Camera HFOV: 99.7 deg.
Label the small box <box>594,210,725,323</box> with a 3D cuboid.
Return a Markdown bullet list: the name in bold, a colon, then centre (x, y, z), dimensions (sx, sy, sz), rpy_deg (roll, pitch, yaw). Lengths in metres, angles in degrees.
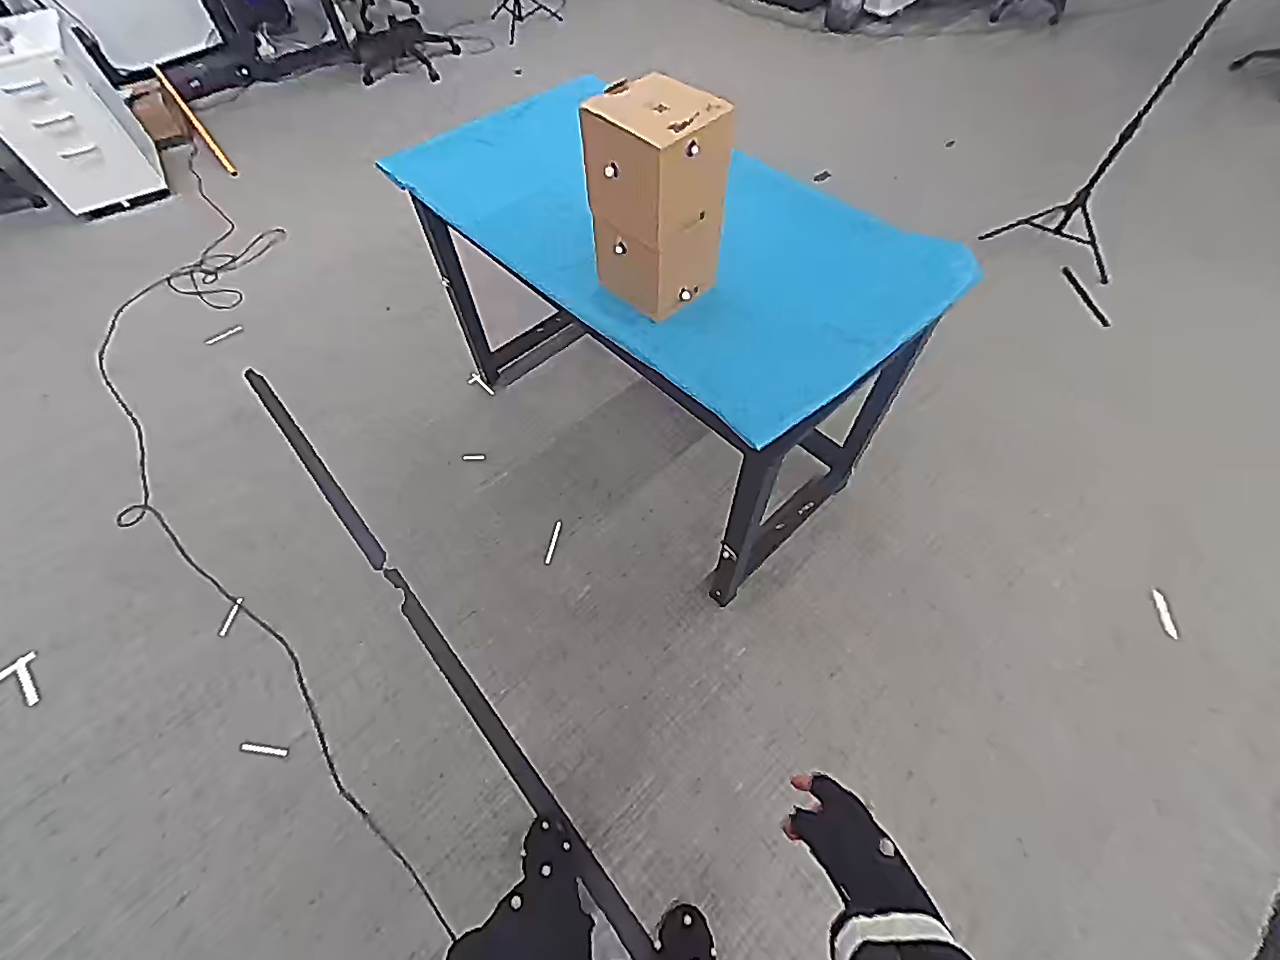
- **small box**: centre (0.035, -0.431, 1.021), dimensions (0.168, 0.176, 0.179), rpy_deg (-39, 64, -20)

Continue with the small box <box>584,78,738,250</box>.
- **small box**: centre (0.031, -0.508, 0.878), dimensions (0.179, 0.176, 0.168), rpy_deg (38, 66, 22)
